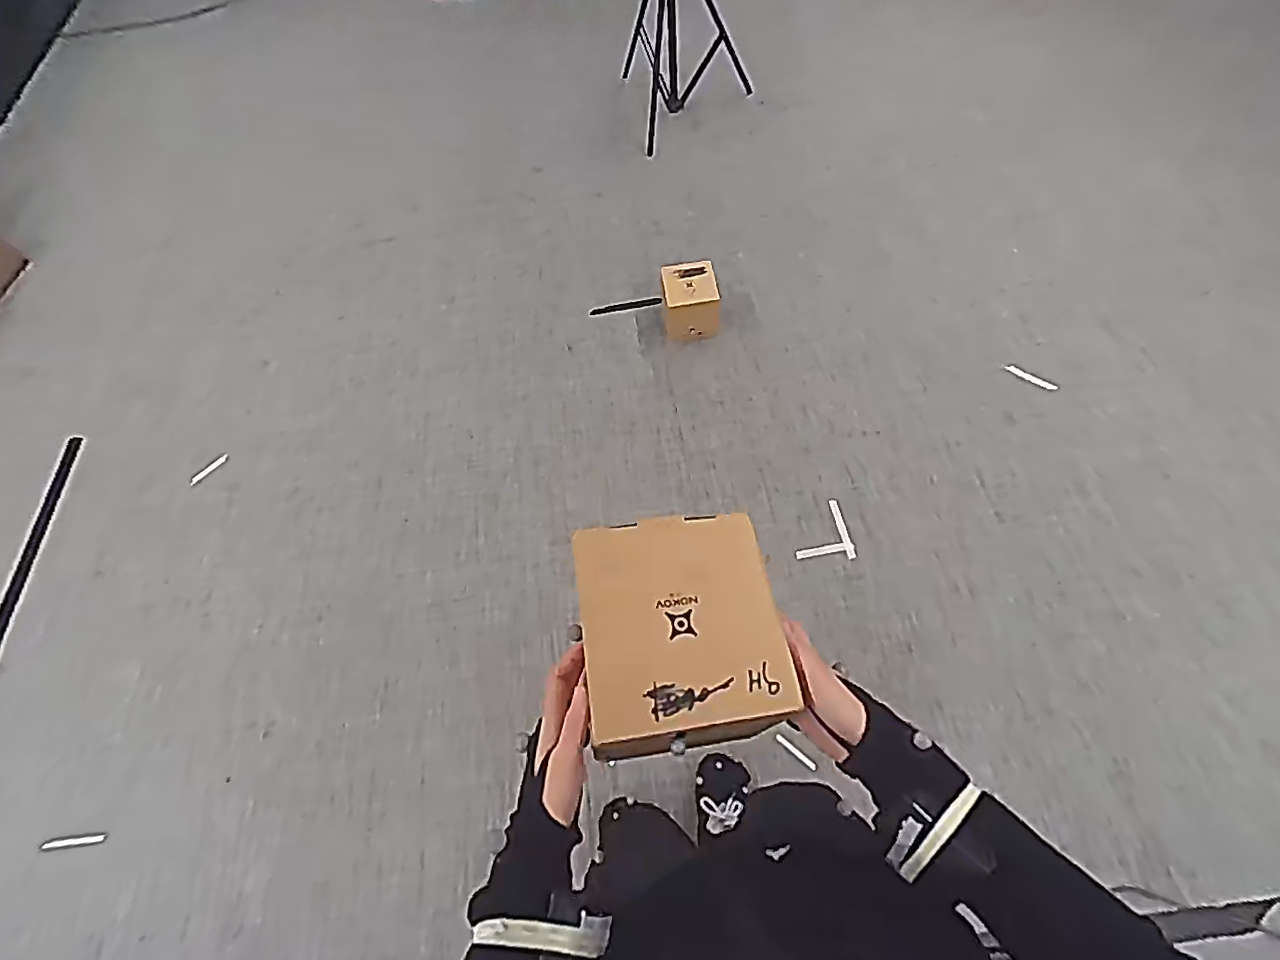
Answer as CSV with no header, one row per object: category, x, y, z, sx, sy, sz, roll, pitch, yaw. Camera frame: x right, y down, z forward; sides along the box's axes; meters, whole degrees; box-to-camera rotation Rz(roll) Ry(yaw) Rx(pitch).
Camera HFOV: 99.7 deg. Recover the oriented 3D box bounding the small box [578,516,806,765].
small box,0.030,0.155,0.513,0.168,0.176,0.179,-6,59,-8
